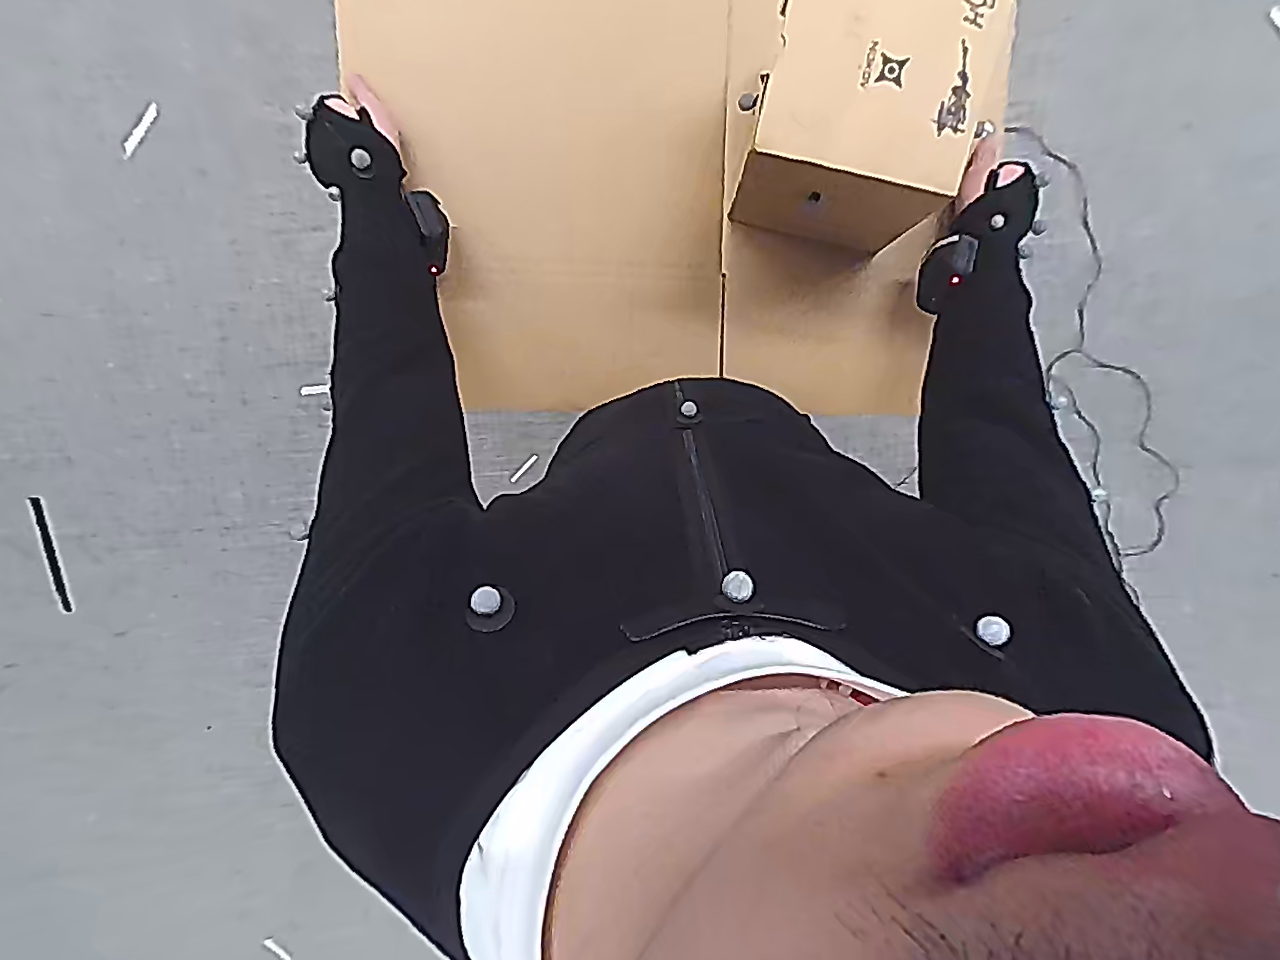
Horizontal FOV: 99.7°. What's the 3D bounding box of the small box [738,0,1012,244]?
[{"bbox_3d":[0.201,-0.347,0.520,0.179,0.176,0.168,13,98,2],"label":"small box"}]
